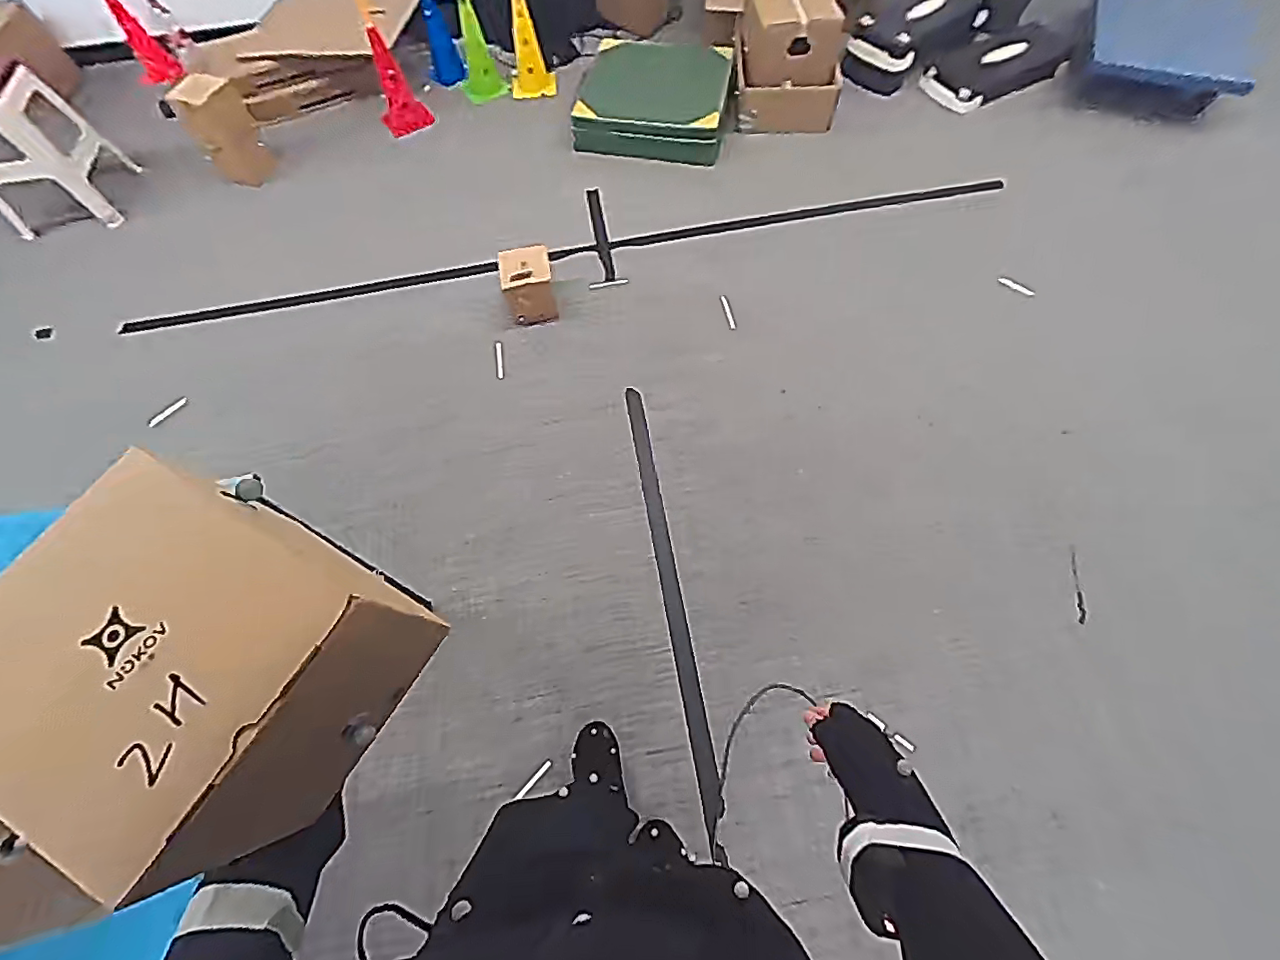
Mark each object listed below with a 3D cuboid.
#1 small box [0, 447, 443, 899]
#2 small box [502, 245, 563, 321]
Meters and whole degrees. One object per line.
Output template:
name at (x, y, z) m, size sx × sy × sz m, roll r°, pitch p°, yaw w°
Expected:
small box at (-0.269, 0.113, 0.361) m, size 0.179 × 0.176 × 0.168 m, roll 34°, pitch 74°, yaw 9°
small box at (-0.366, -0.668, 1.858) m, size 0.168 × 0.176 × 0.179 m, roll -12°, pitch 62°, yaw -3°
